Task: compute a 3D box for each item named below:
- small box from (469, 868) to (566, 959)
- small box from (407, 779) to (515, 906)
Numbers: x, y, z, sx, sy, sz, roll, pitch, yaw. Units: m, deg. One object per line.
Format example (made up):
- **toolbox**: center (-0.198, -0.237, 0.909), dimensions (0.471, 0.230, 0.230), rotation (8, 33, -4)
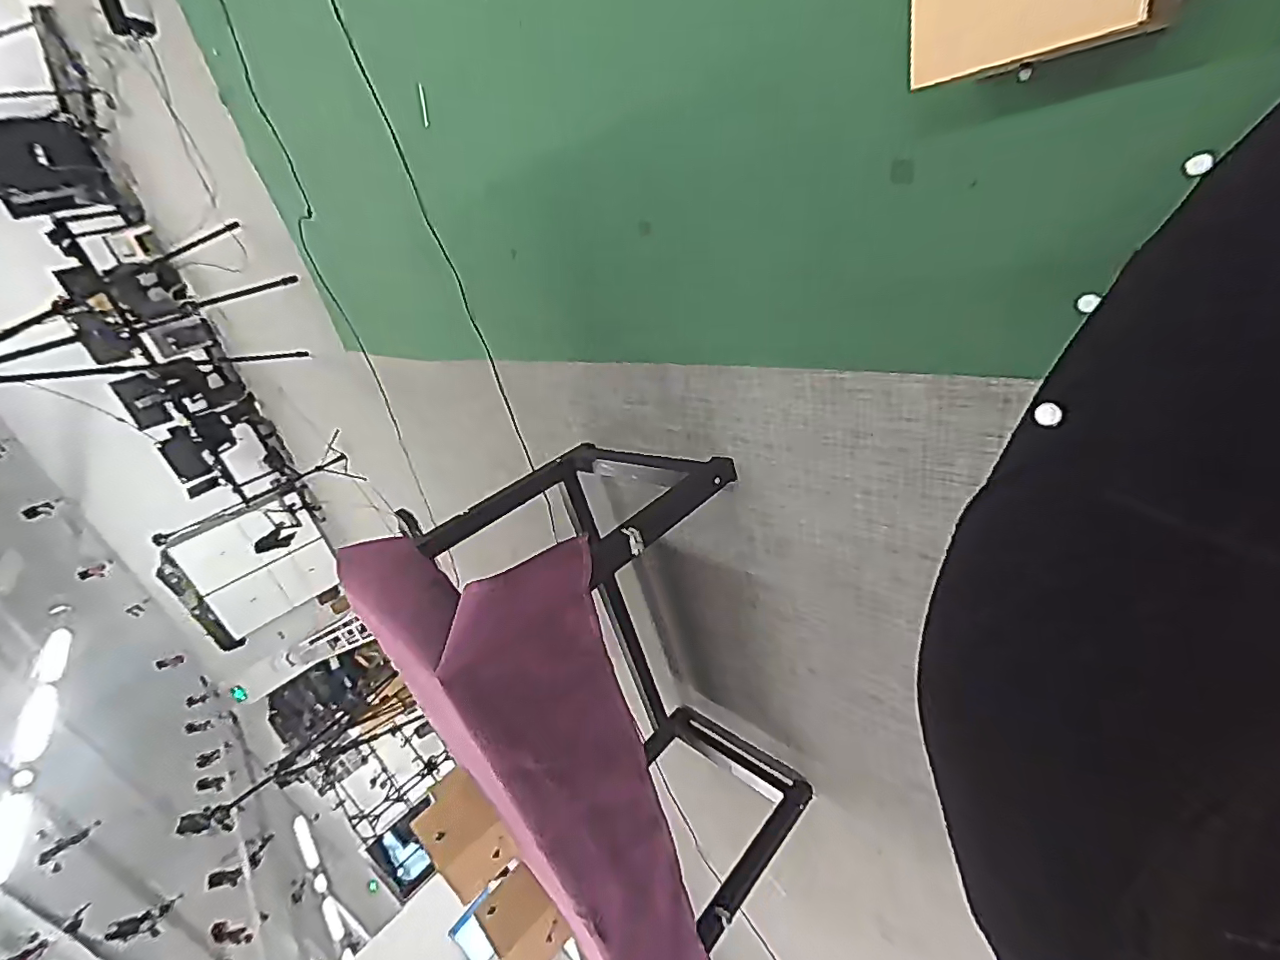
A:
- **small box**: center (-0.332, 1.215, 1.478), dimensions (0.179, 0.176, 0.168), rotation (11, 126, 47)
- **small box**: center (-0.441, 0.888, 1.348), dimensions (0.179, 0.176, 0.168), rotation (18, 131, 42)
